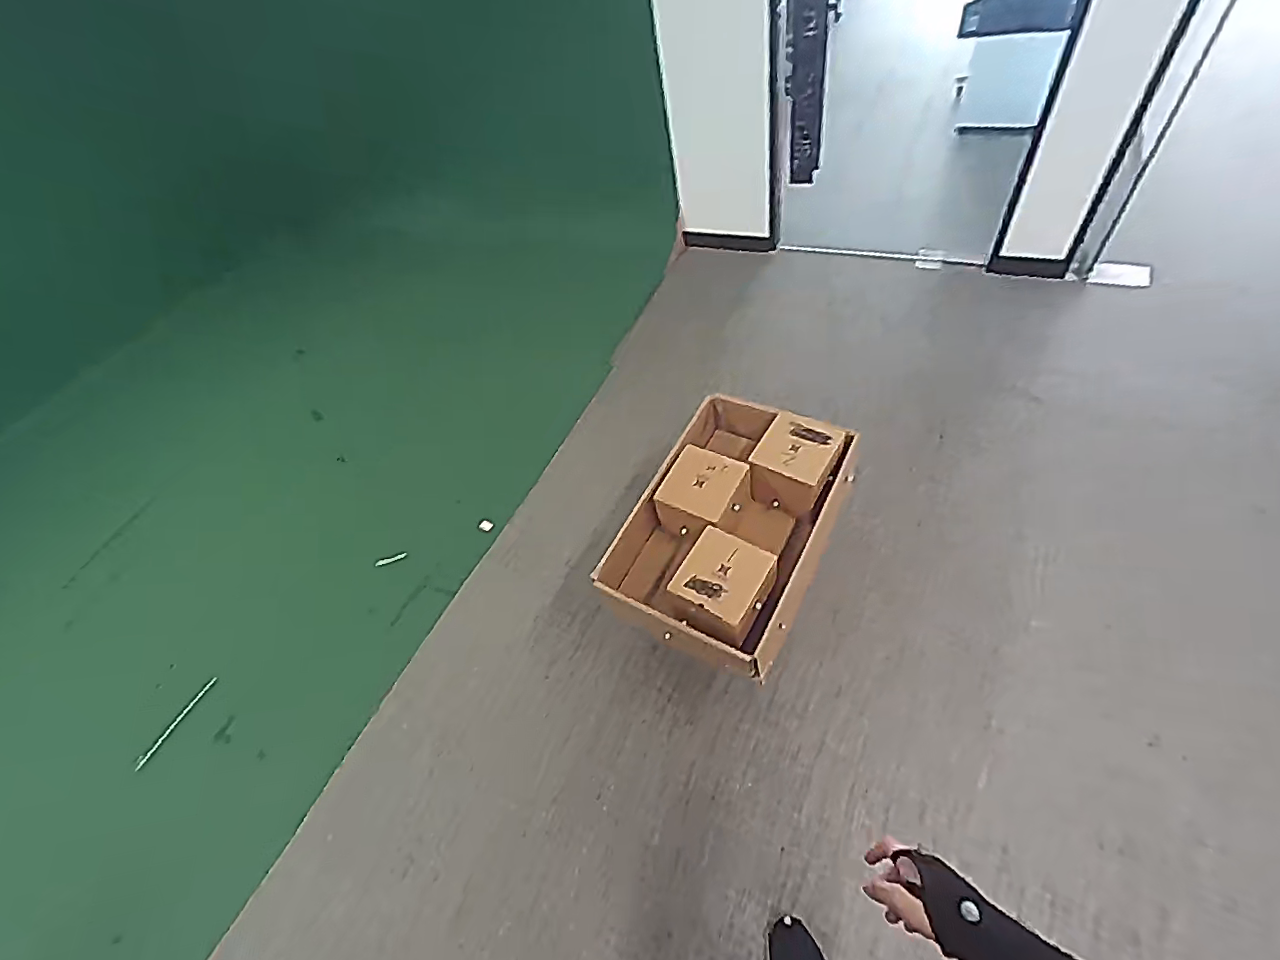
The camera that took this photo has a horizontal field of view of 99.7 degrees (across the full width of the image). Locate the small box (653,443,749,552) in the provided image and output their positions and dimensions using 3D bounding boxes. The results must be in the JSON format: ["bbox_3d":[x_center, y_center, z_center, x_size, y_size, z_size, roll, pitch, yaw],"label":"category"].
[{"bbox_3d":[0.156,0.047,1.302,0.168,0.176,0.179,23,63,24],"label":"small box"}]
